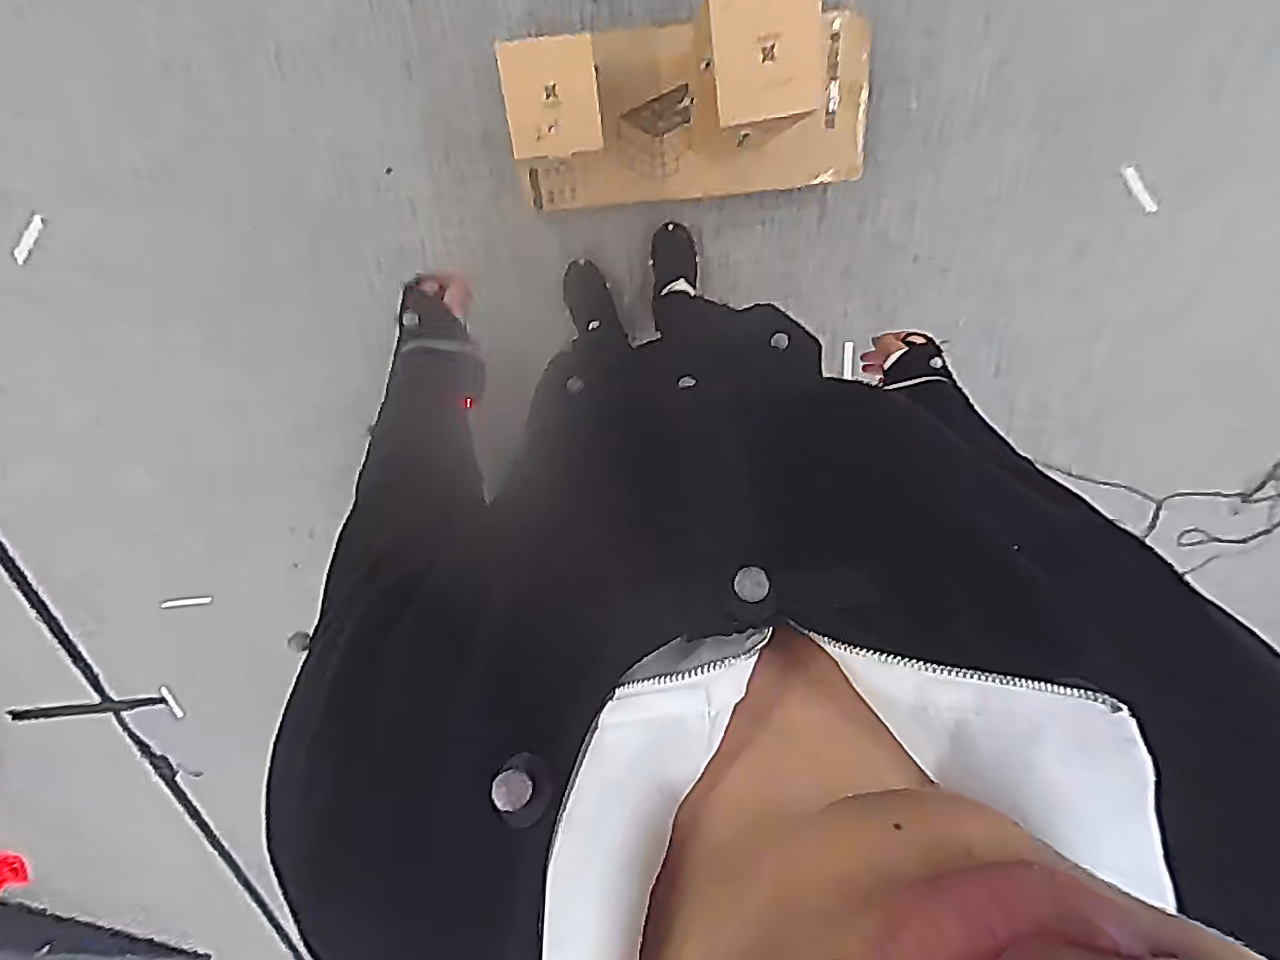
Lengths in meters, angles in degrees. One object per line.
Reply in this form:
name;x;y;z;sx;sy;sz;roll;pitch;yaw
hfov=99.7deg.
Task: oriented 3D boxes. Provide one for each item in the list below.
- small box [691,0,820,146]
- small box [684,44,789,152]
small box;0.183;-0.671;0.885;0.168;0.176;0.179;-11;116;2
small box;0.182;-0.741;1.034;0.168;0.176;0.179;-9;116;0
